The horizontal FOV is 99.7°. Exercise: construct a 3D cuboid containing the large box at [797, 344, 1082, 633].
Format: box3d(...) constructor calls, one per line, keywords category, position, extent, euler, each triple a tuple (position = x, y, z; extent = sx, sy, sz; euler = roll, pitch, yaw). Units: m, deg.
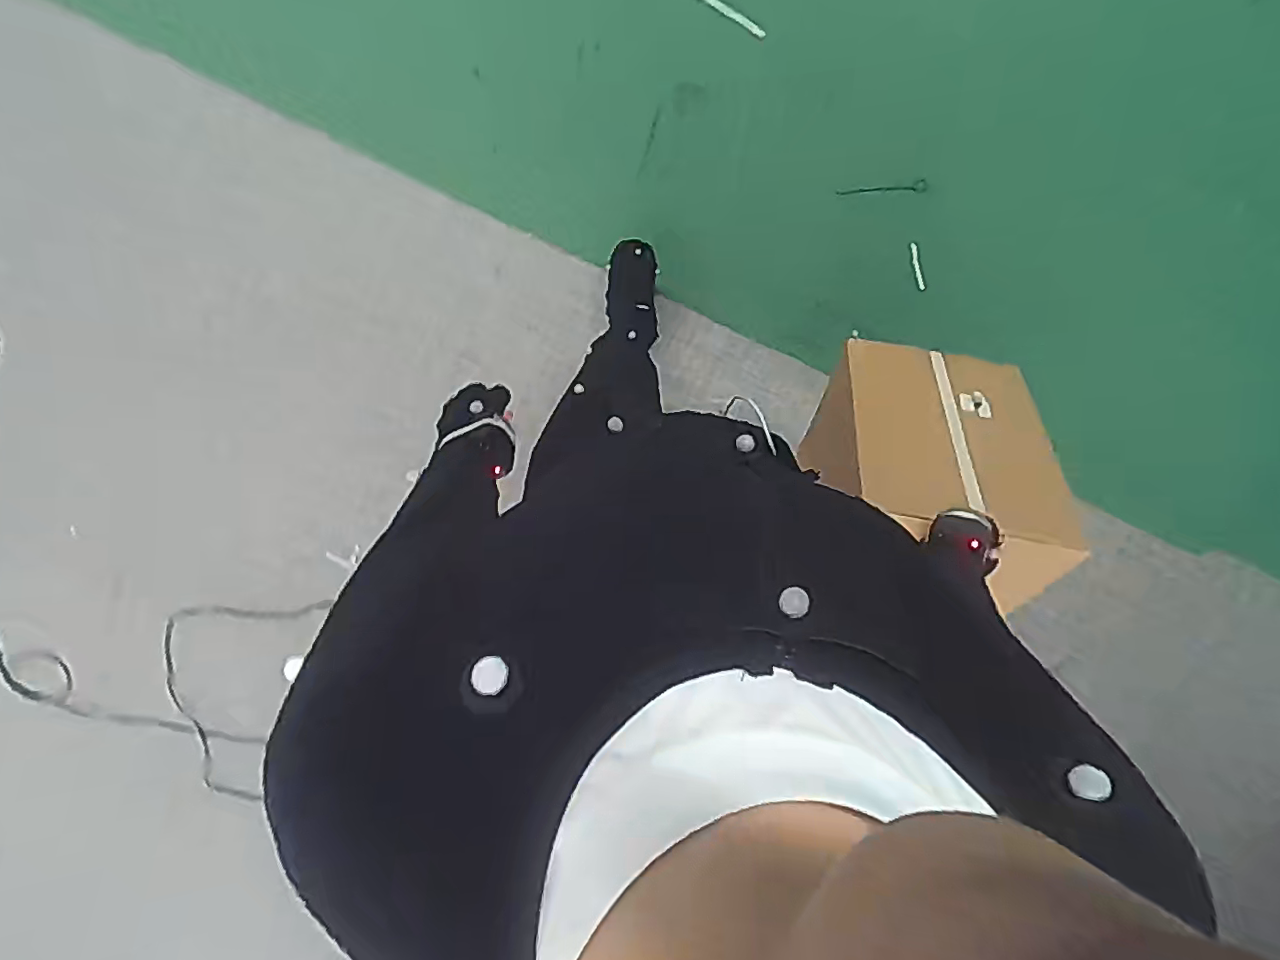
box3d(category="large box", position=(0.484, 0.013, 0.991), extent=(0.320, 0.408, 0.320), euler=(12, 139, 3))
